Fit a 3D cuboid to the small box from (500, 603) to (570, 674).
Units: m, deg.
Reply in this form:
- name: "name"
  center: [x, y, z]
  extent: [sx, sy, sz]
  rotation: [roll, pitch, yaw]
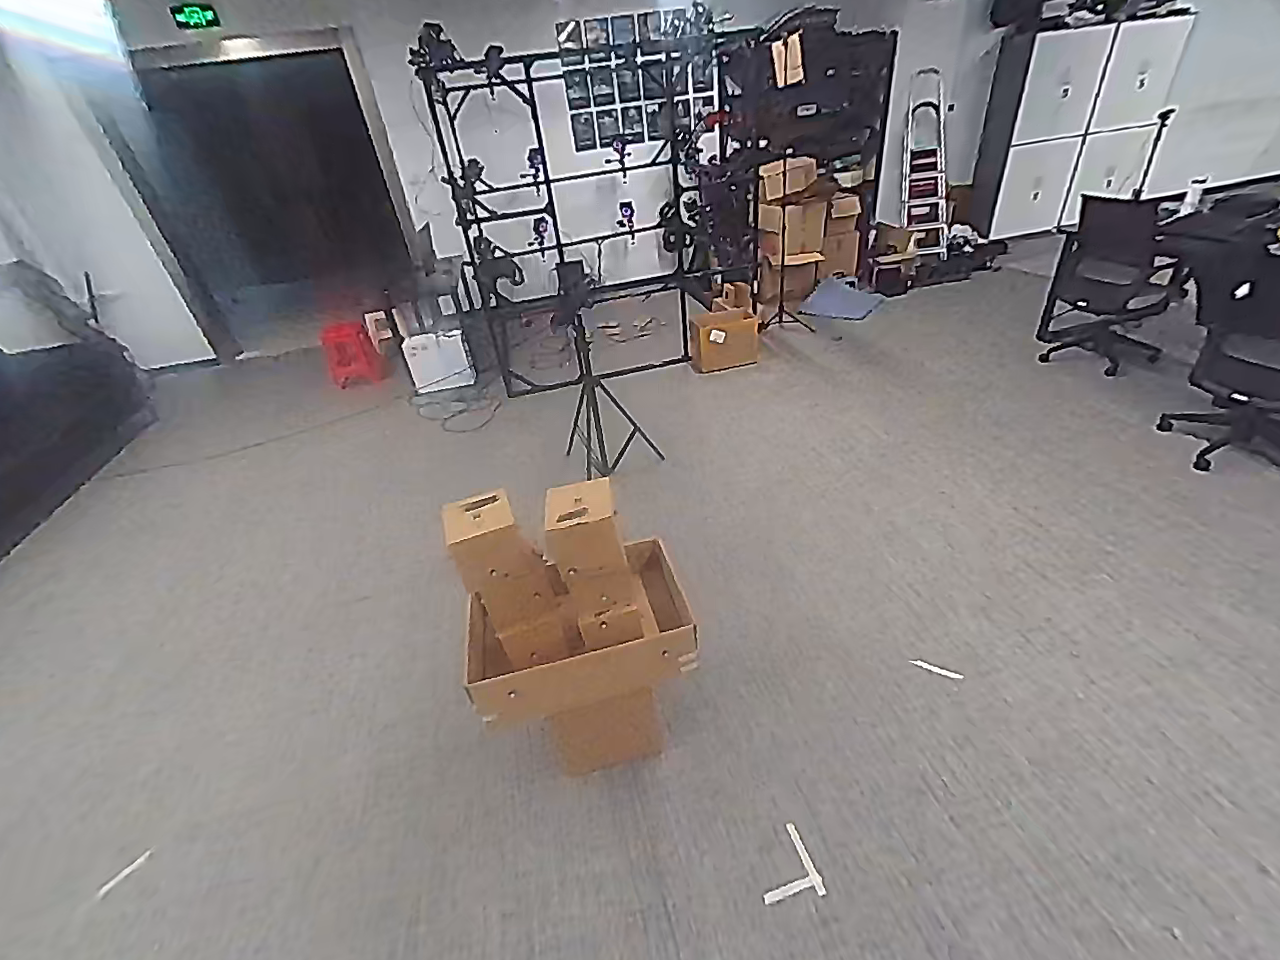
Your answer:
- name: "small box"
  center: [-0.313, 0.422, 1.562]
  extent: [0.168, 0.176, 0.179]
  rotation: [-18, 35, -14]

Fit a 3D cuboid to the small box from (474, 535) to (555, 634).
- name: "small box"
  center: [-0.337, 0.285, 1.476]
  extent: [0.179, 0.176, 0.168]
  rotation: [-17, 34, -14]

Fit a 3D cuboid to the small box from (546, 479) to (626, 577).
- name: "small box"
  center: [-0.133, 0.127, 1.366]
  extent: [0.168, 0.176, 0.179]
  rotation: [-12, 34, 1]
